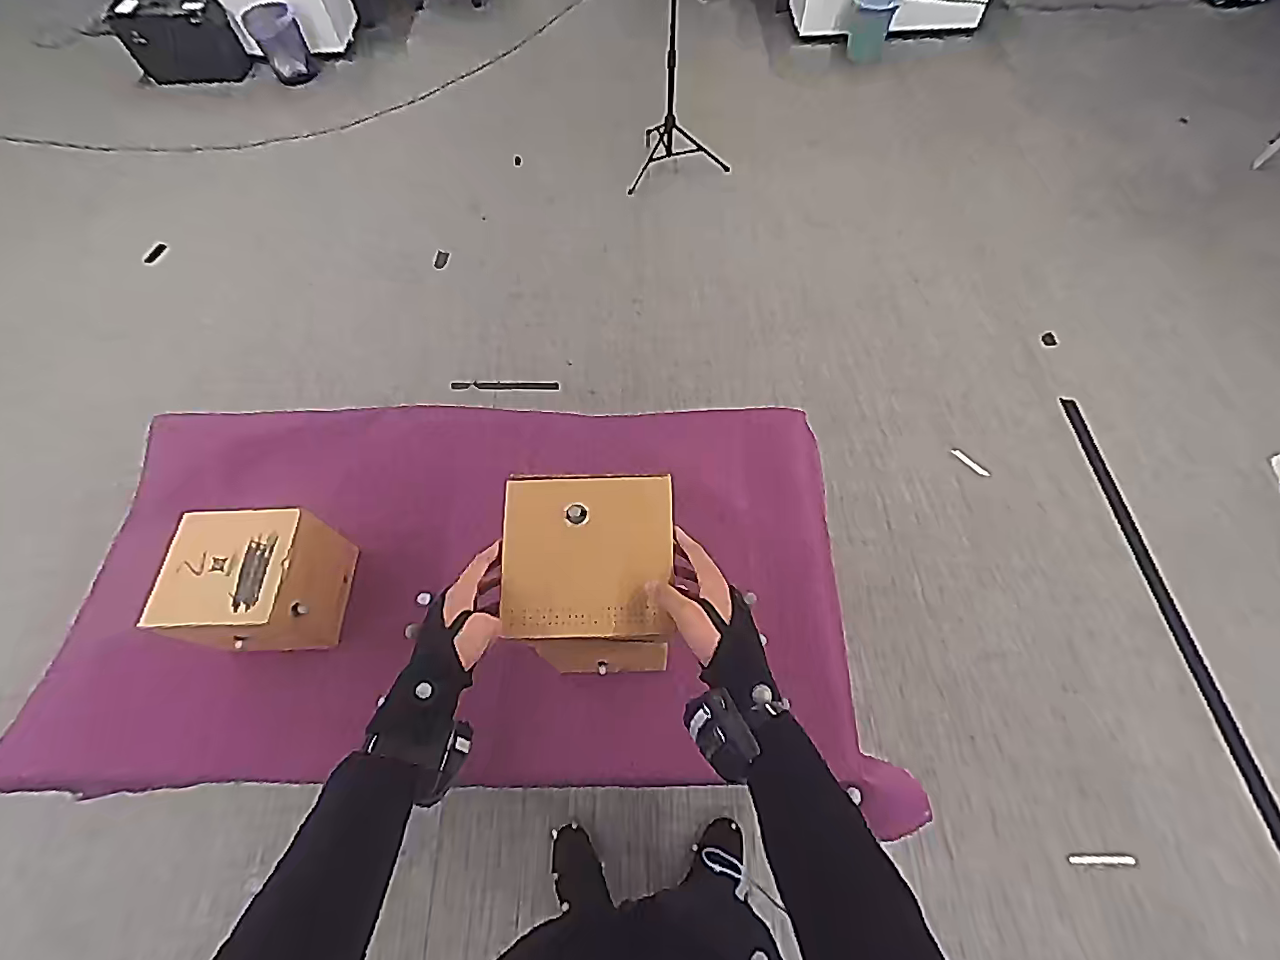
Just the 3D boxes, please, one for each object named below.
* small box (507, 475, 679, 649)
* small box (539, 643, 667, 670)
[{"bbox_3d":[-0.048,0.103,0.625,0.179,0.168,0.176,-1,71,1],"label":"small box"},{"bbox_3d":[-0.043,0.175,0.786,0.168,0.176,0.179,-1,62,1],"label":"small box"}]
